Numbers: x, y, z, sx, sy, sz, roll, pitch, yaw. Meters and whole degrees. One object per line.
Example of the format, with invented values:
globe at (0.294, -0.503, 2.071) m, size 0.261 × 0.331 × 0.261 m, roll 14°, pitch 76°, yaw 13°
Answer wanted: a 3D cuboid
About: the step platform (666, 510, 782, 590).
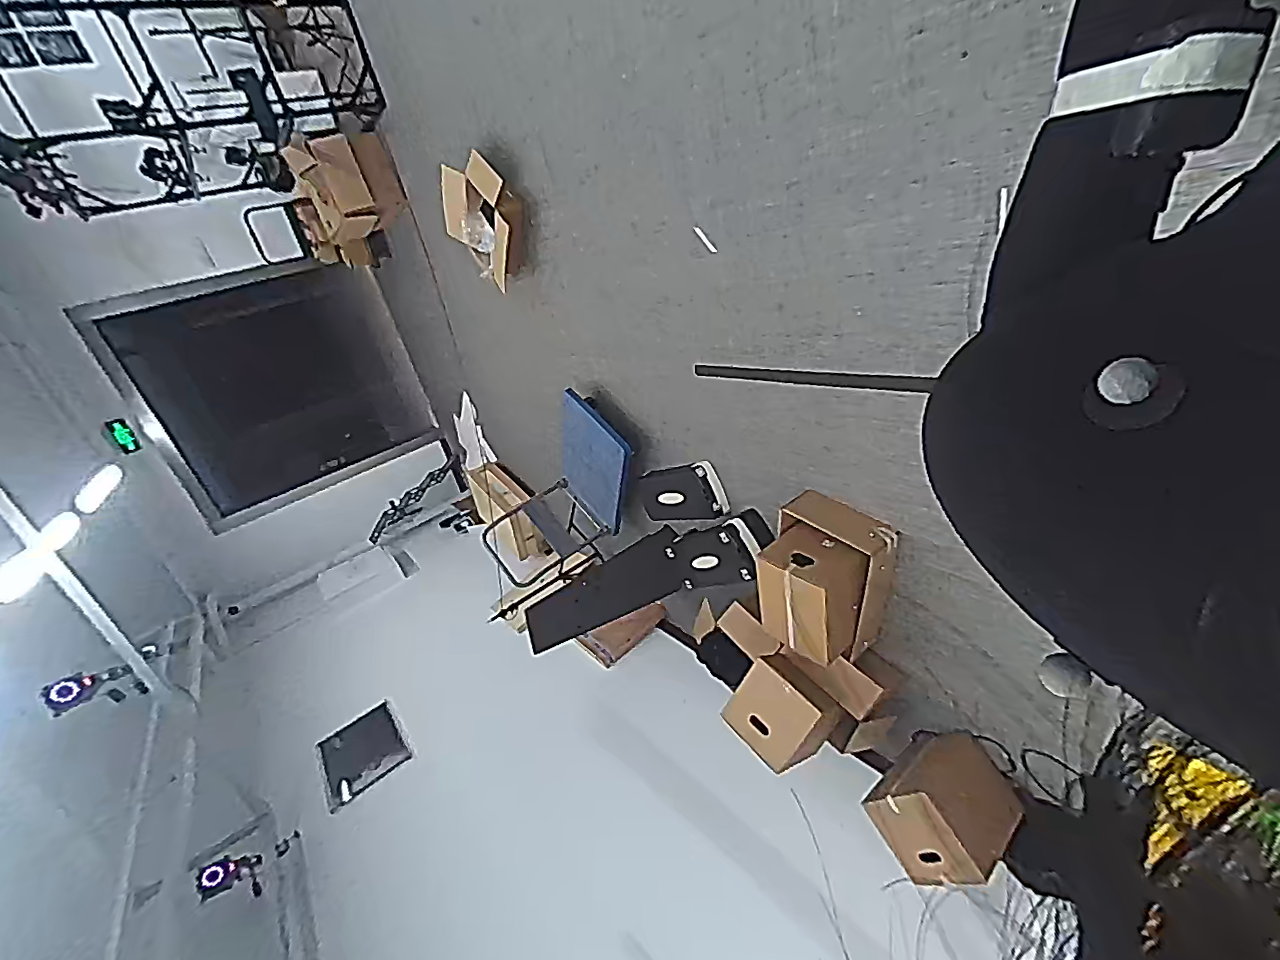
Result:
step platform at (0.395, 0.371, 2.737) m, size 0.286 × 0.204 × 0.684 m, roll 60°, pitch 151°, yaw 1°
